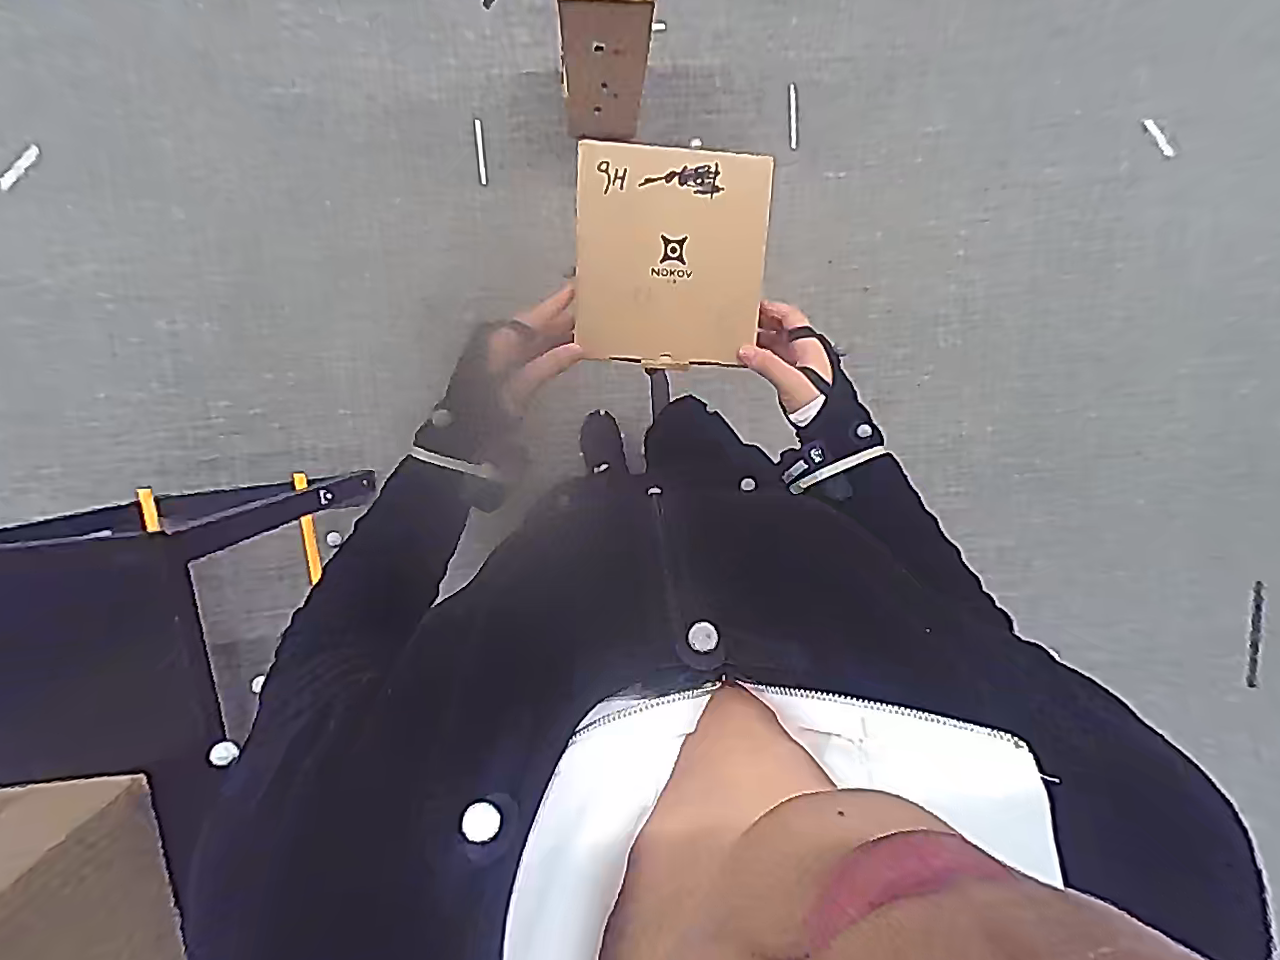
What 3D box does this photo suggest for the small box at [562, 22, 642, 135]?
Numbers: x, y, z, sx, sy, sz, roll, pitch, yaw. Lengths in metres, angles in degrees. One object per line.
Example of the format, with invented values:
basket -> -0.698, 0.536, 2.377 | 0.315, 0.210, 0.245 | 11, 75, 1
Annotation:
small box -> -0.087, -0.936, 1.267 | 0.179, 0.176, 0.168 | -2, 99, -5

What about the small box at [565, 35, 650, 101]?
small box -> -0.068, -0.917, 1.105 | 0.168, 0.176, 0.179 | -2, 99, -4

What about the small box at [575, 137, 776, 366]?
small box -> 0.021, -0.214, 0.543 | 0.168, 0.176, 0.179 | 1, 106, -7

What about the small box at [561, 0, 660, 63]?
small box -> -0.055, -0.879, 0.946 | 0.168, 0.176, 0.179 | -2, 100, -3
